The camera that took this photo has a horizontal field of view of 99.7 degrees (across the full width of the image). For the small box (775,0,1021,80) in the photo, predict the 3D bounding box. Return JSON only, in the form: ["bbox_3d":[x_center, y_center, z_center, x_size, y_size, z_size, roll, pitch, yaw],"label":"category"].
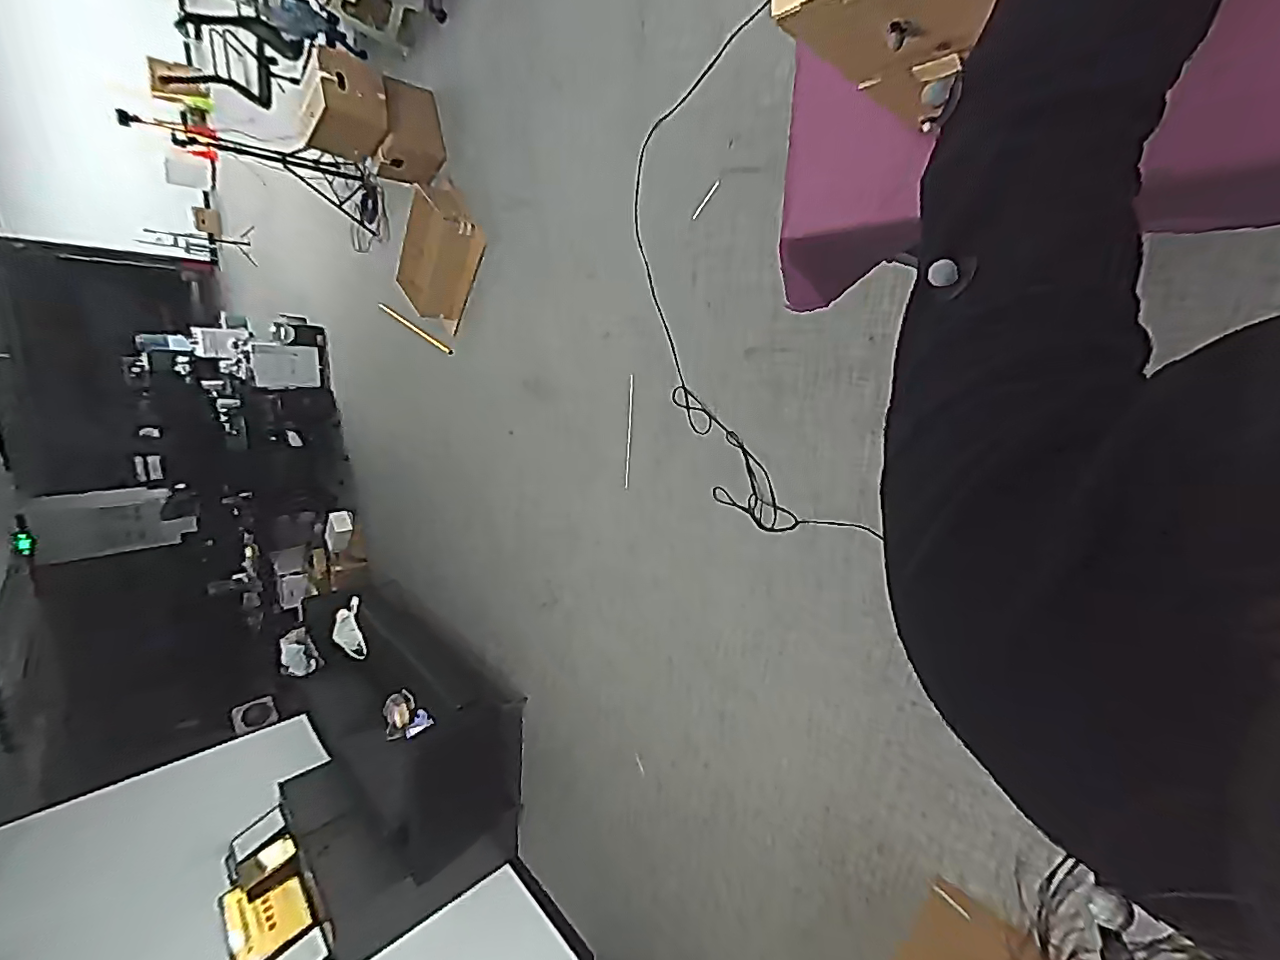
[{"bbox_3d":[0.245,-0.501,0.491,0.168,0.176,0.179,16,109,44],"label":"small box"}]
